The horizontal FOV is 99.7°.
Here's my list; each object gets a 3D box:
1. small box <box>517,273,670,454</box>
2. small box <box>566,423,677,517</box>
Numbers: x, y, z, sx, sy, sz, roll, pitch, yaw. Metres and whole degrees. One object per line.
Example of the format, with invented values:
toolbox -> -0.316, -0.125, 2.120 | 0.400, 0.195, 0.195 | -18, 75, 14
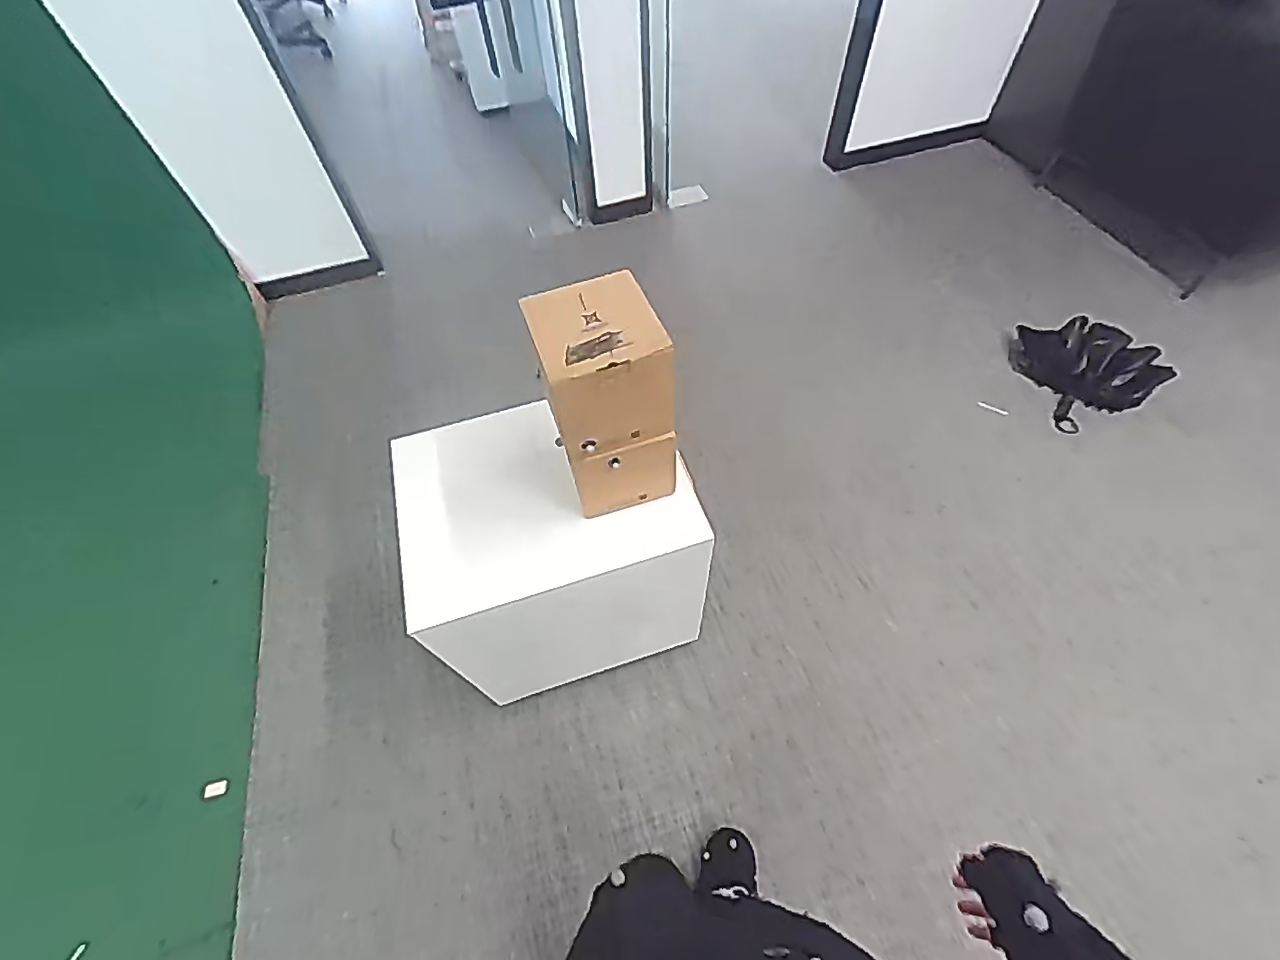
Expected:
small box -> -0.060, -0.158, 0.778 | 0.168, 0.176, 0.179 | -19, 57, -8
small box -> -0.043, -0.066, 0.914 | 0.168, 0.176, 0.179 | -17, 57, -6
